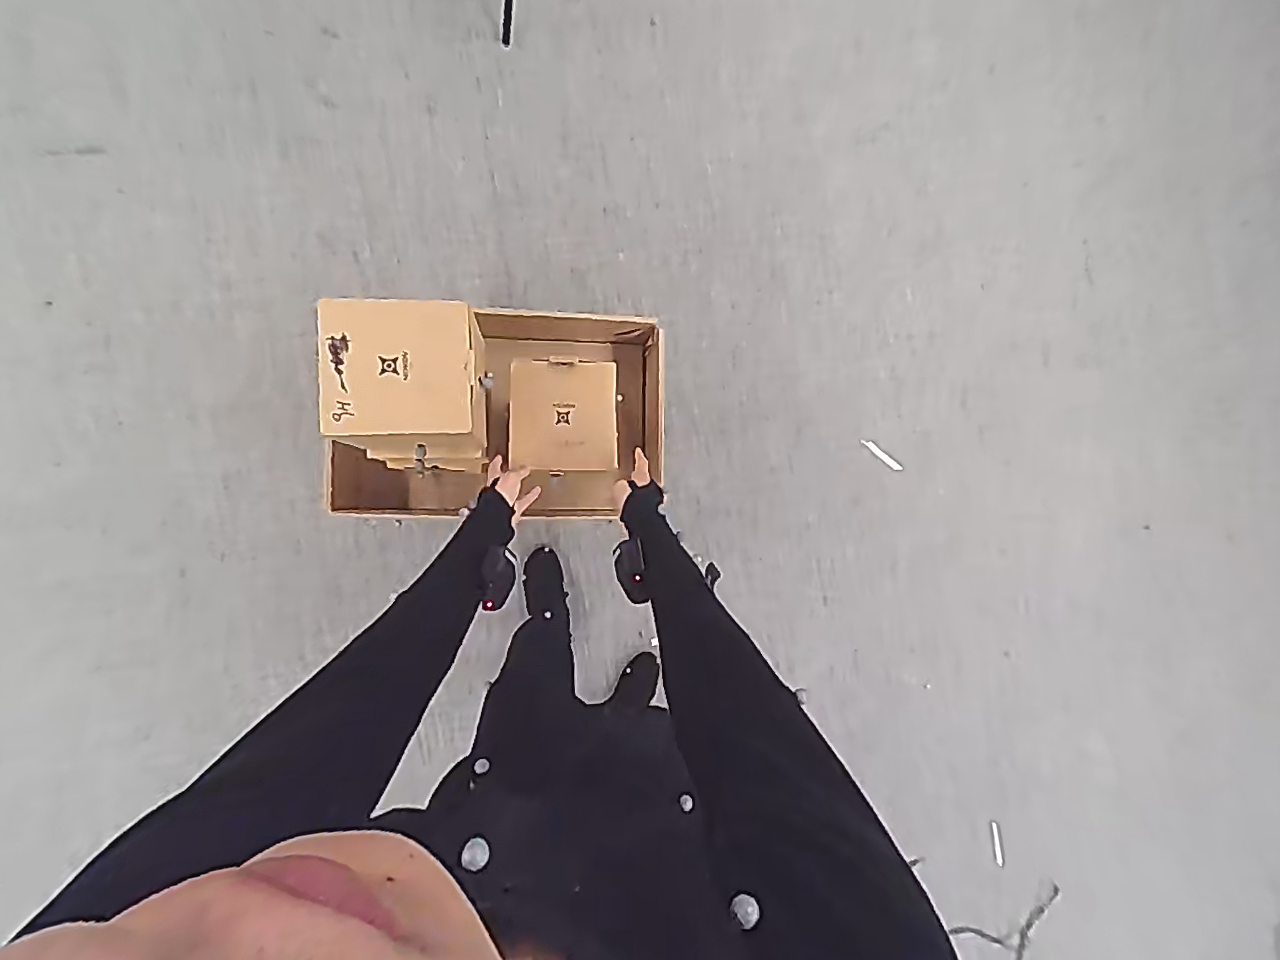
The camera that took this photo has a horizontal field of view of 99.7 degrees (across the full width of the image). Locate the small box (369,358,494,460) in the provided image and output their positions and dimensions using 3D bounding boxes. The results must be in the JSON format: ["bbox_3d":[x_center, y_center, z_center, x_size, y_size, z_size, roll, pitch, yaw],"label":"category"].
[{"bbox_3d":[-0.332,-0.123,0.890,0.168,0.176,0.179,0,88,-11],"label":"small box"}]

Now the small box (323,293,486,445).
[{"bbox_3d":[-0.303,-0.138,0.729,0.179,0.176,0.168,-1,88,-11],"label":"small box"}]

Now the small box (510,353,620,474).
[{"bbox_3d":[-0.125,-0.104,0.918,0.168,0.176,0.179,1,88,-6],"label":"small box"}]
